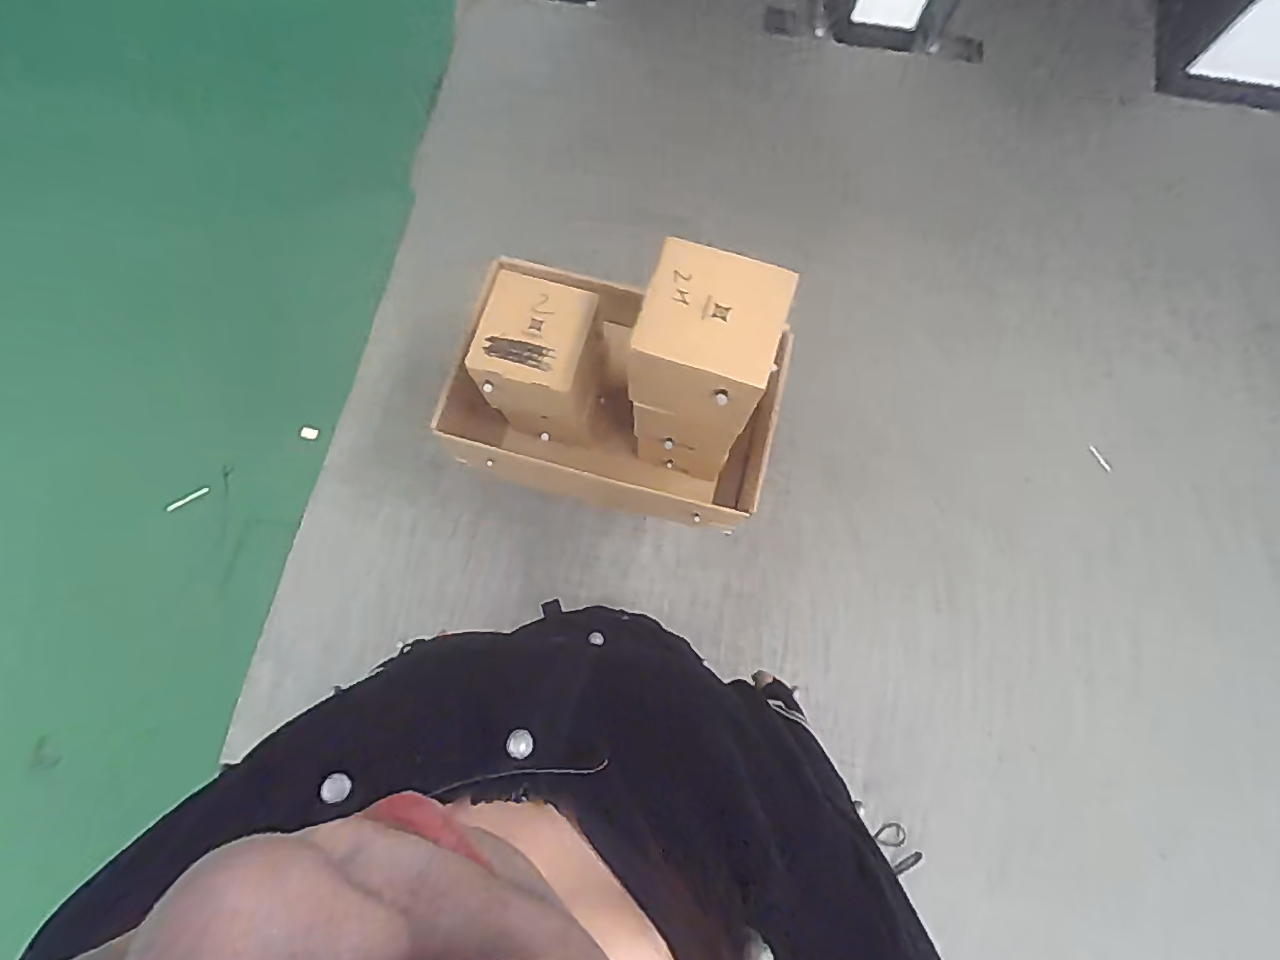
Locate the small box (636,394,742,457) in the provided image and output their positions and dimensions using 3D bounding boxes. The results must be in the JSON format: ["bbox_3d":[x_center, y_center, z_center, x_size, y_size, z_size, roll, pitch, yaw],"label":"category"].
[{"bbox_3d":[0.095,-0.158,0.898,0.168,0.176,0.179,17,78,5],"label":"small box"}]

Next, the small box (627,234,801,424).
[{"bbox_3d":[0.093,-0.192,0.736,0.179,0.176,0.168,19,77,6],"label":"small box"}]
